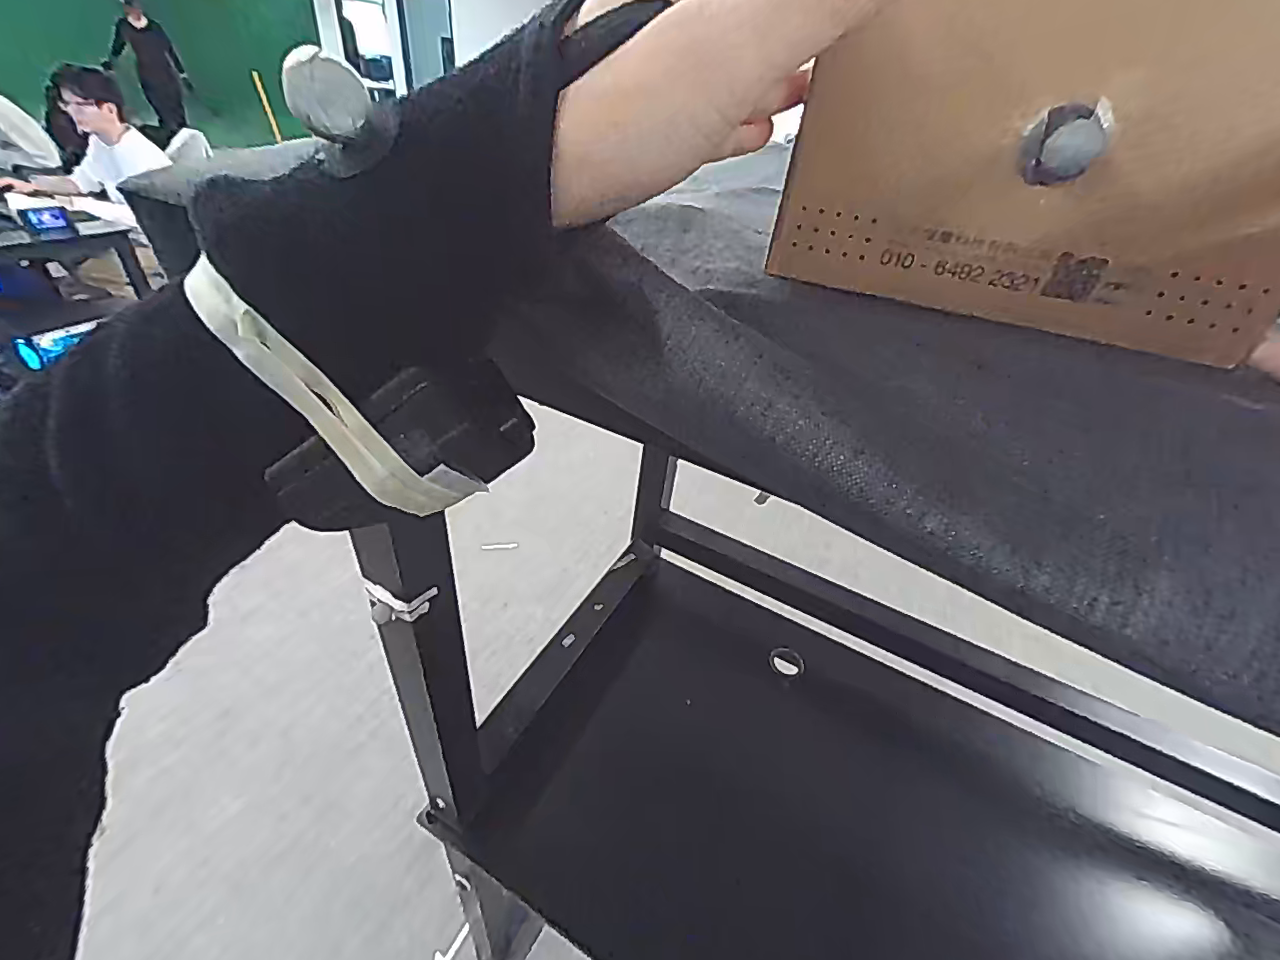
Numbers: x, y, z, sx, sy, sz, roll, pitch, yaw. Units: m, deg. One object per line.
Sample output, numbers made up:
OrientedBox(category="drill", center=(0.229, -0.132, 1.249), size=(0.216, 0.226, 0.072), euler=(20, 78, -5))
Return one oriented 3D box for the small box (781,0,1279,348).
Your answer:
OrientedBox(category="small box", center=(0.165, -0.174, 0.220), size=(0.168, 0.176, 0.179), euler=(17, 36, 12))
